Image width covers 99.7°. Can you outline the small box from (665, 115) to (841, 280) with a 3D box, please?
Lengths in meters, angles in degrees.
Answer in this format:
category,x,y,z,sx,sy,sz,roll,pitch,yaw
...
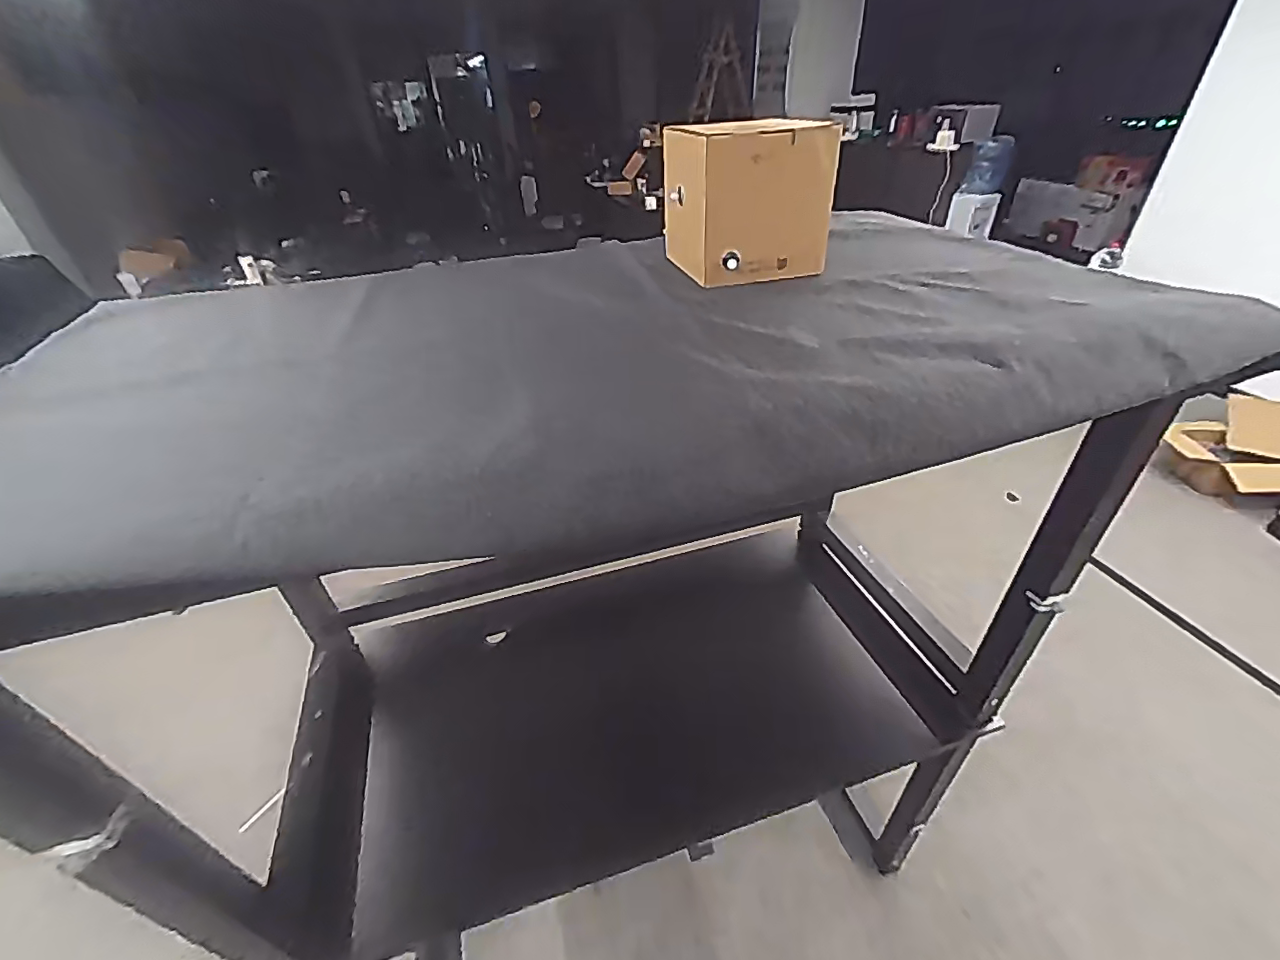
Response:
category,x,y,z,sx,sy,sz,roll,pitch,yaw
small box,0.137,-0.370,0.712,0.168,0.176,0.179,-11,36,-9
